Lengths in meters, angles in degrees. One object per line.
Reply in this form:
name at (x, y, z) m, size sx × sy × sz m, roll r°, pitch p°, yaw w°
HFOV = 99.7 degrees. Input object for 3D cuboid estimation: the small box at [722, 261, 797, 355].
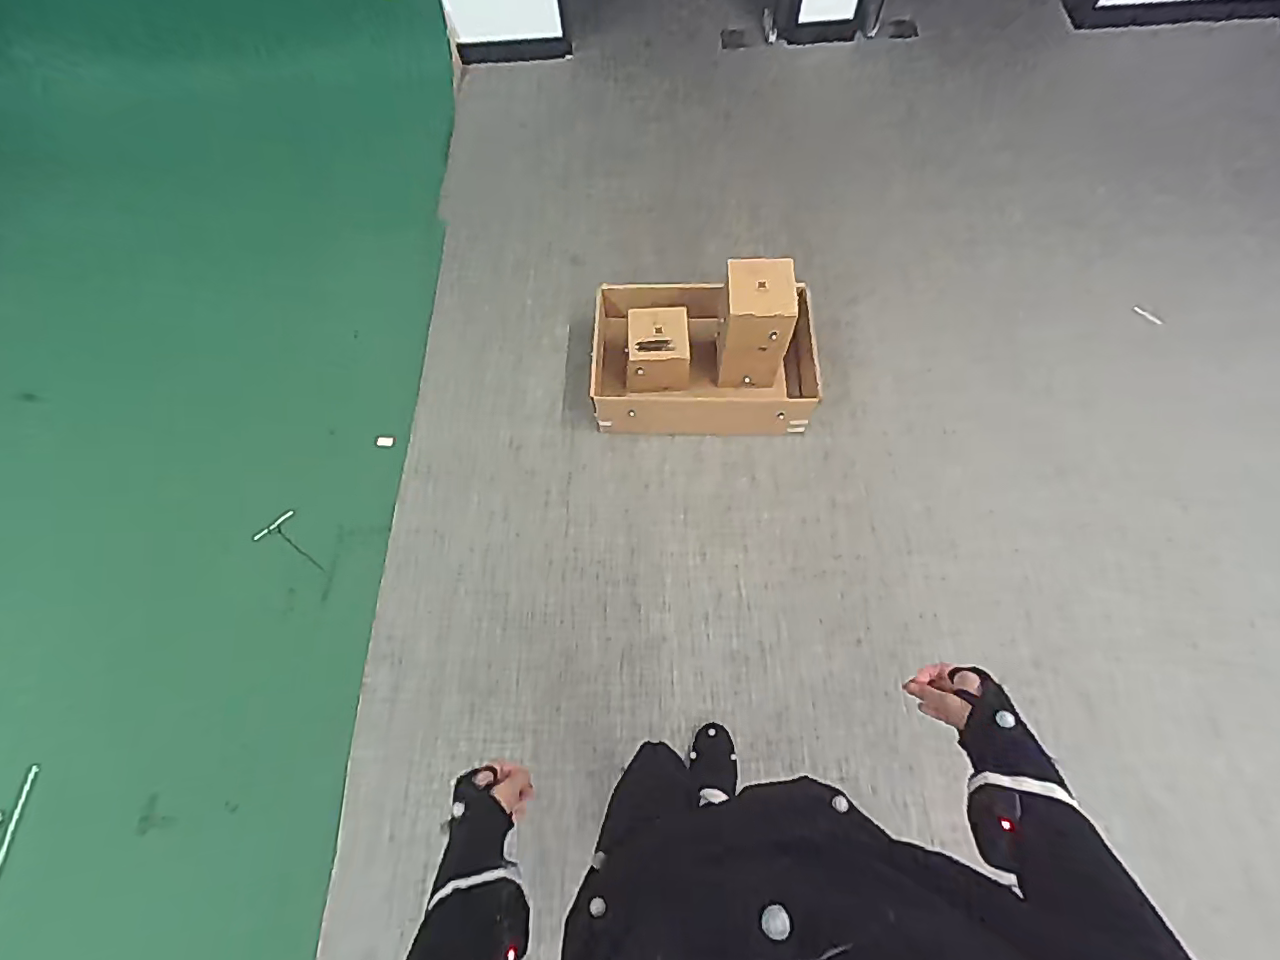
small box at (0.305, -0.441, 1.407) m, size 0.168 × 0.176 × 0.179 m, roll 1°, pitch 67°, yaw 3°

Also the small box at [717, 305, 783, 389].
small box at (0.310, -0.382, 1.558) m, size 0.168 × 0.176 × 0.179 m, roll 0°, pitch 68°, yaw 5°
